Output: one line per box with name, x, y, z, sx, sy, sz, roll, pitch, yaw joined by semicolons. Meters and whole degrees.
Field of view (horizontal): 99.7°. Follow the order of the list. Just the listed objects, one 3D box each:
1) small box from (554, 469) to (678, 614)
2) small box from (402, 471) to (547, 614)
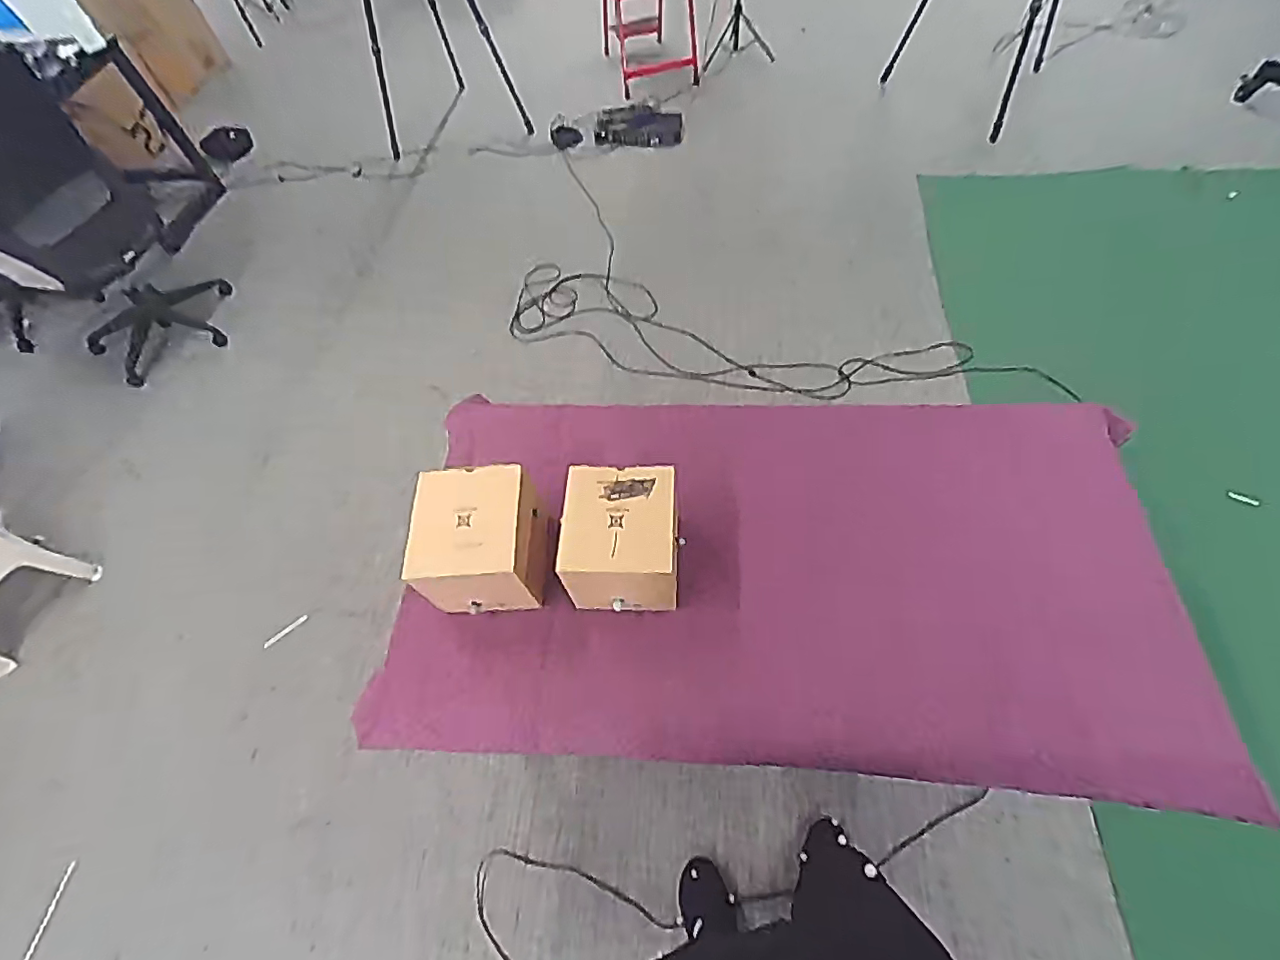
small box;-0.027;0.099;0.856;0.168;0.176;0.179;0;60;7
small box;-0.254;0.106;0.879;0.168;0.176;0.179;-4;59;5
